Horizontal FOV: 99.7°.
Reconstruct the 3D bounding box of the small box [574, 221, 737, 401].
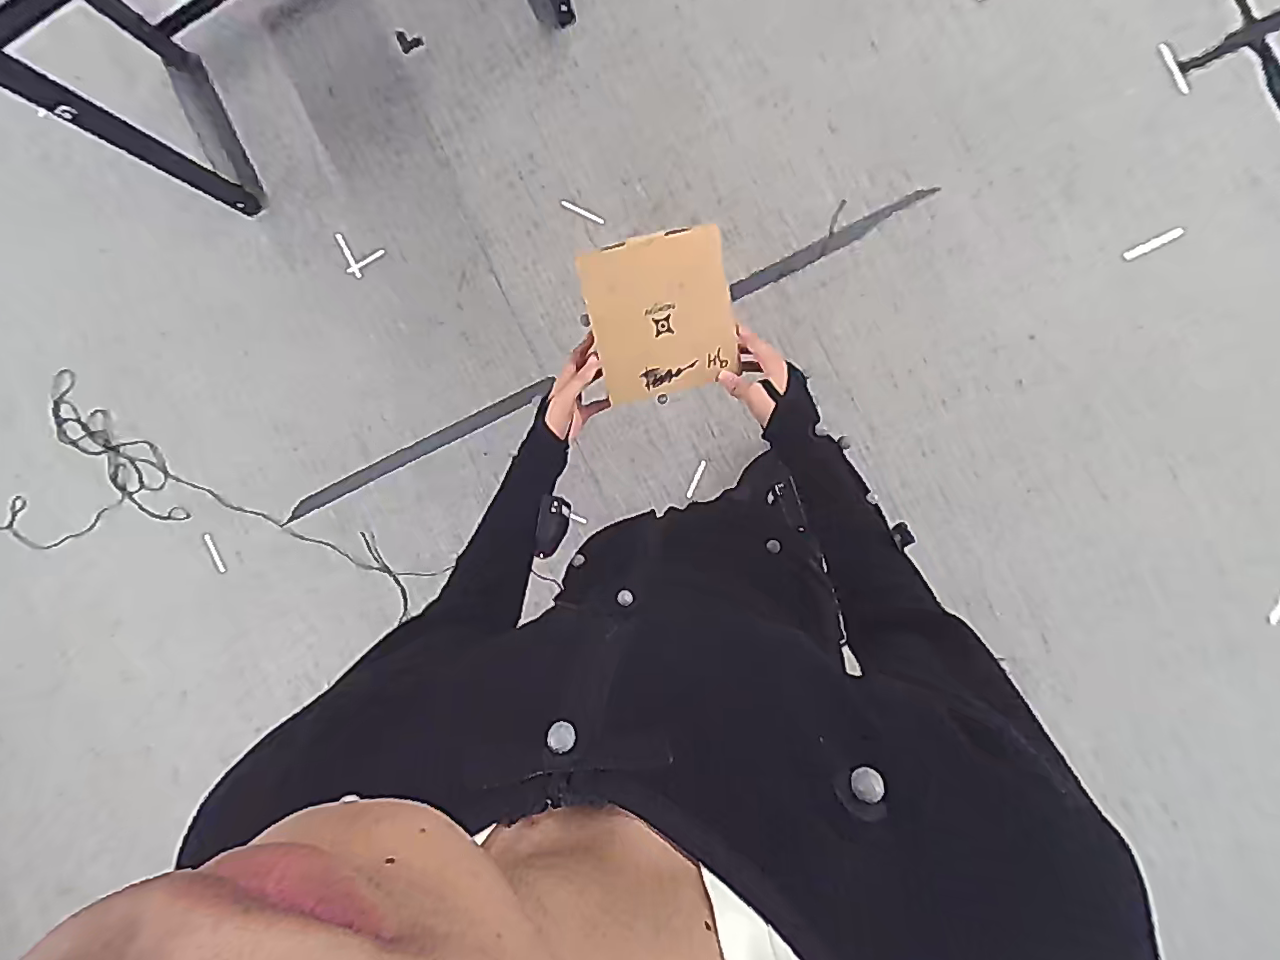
[{"bbox_3d":[0.014,-0.216,0.707,0.168,0.176,0.179,-14,108,0],"label":"small box"}]
